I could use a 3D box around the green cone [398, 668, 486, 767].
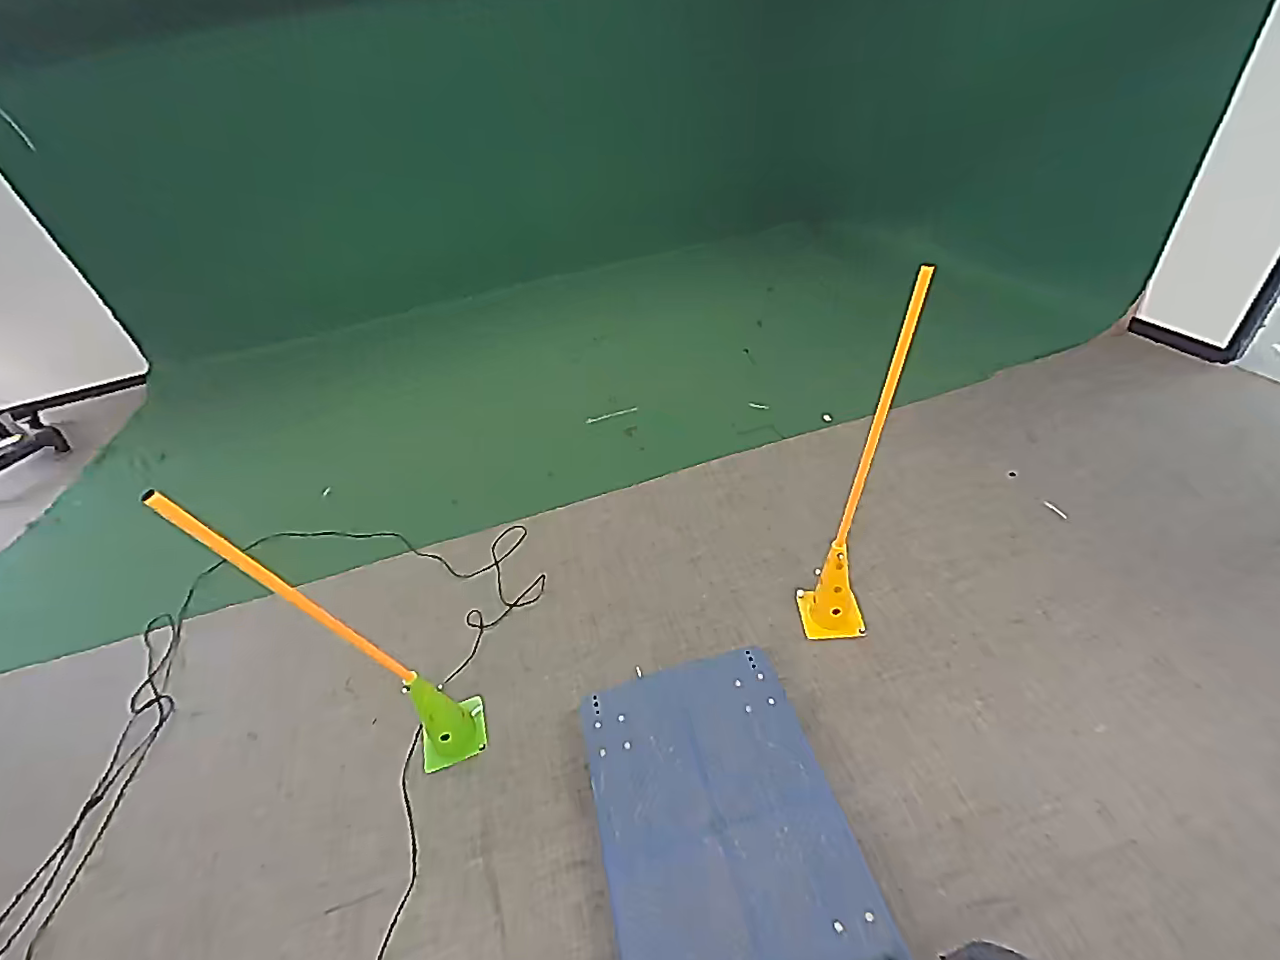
[{"bbox_3d":[-0.640,0.683,1.663,0.202,0.368,0.200,-20,40,-9],"label":"green cone"}]
